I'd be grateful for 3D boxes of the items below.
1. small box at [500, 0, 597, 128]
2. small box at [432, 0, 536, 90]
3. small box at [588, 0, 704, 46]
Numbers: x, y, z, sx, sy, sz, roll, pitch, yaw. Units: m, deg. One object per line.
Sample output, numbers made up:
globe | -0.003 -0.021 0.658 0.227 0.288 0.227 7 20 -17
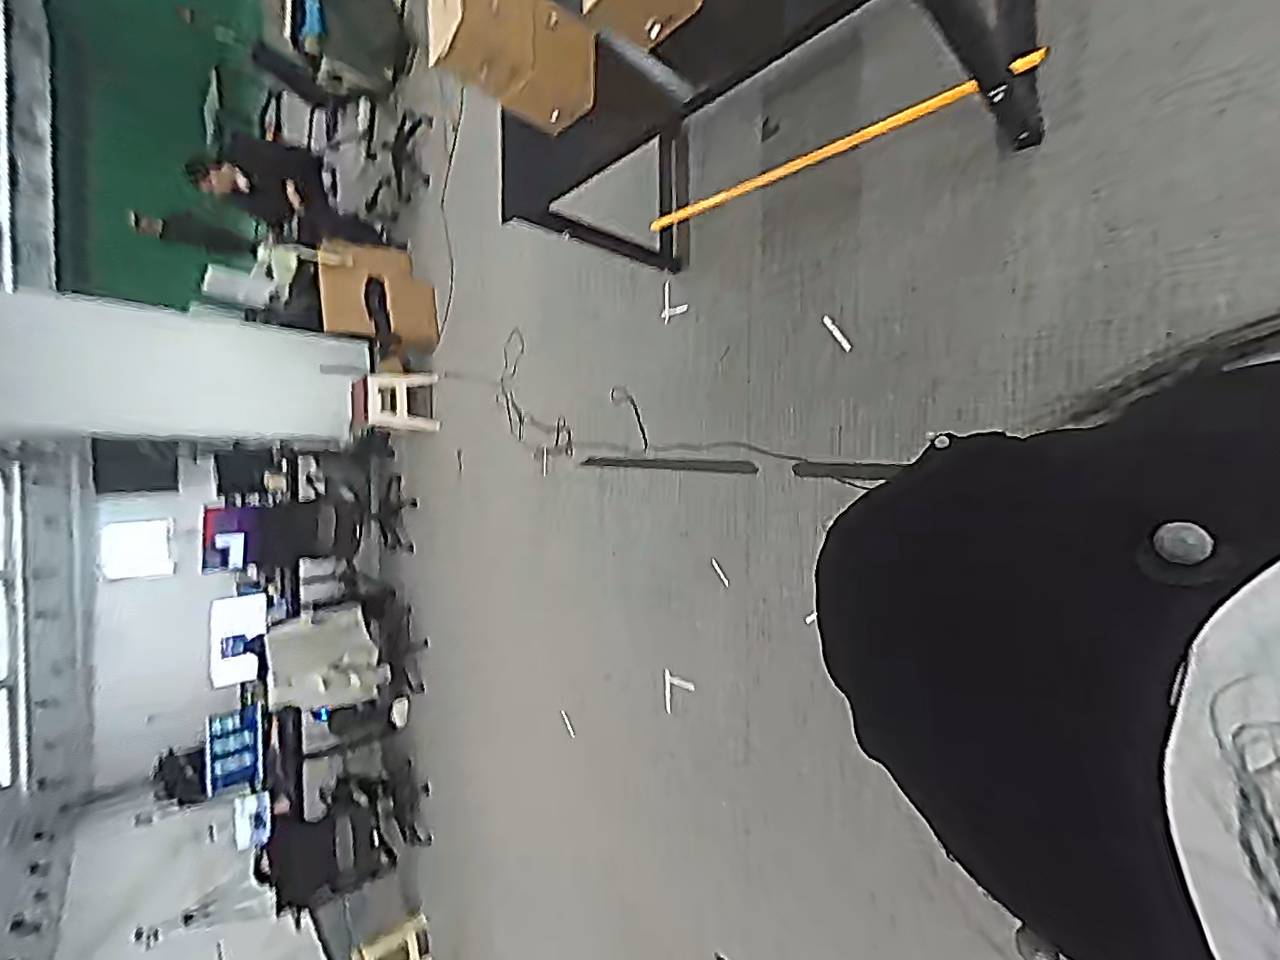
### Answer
small box | -0.216 -0.992 1.290 0.168 0.176 0.179 4 94 47
small box | -0.338 -0.998 1.180 0.168 0.176 0.179 0 92 47
small box | 0.014 -1.006 1.044 0.168 0.176 0.179 0 92 49
